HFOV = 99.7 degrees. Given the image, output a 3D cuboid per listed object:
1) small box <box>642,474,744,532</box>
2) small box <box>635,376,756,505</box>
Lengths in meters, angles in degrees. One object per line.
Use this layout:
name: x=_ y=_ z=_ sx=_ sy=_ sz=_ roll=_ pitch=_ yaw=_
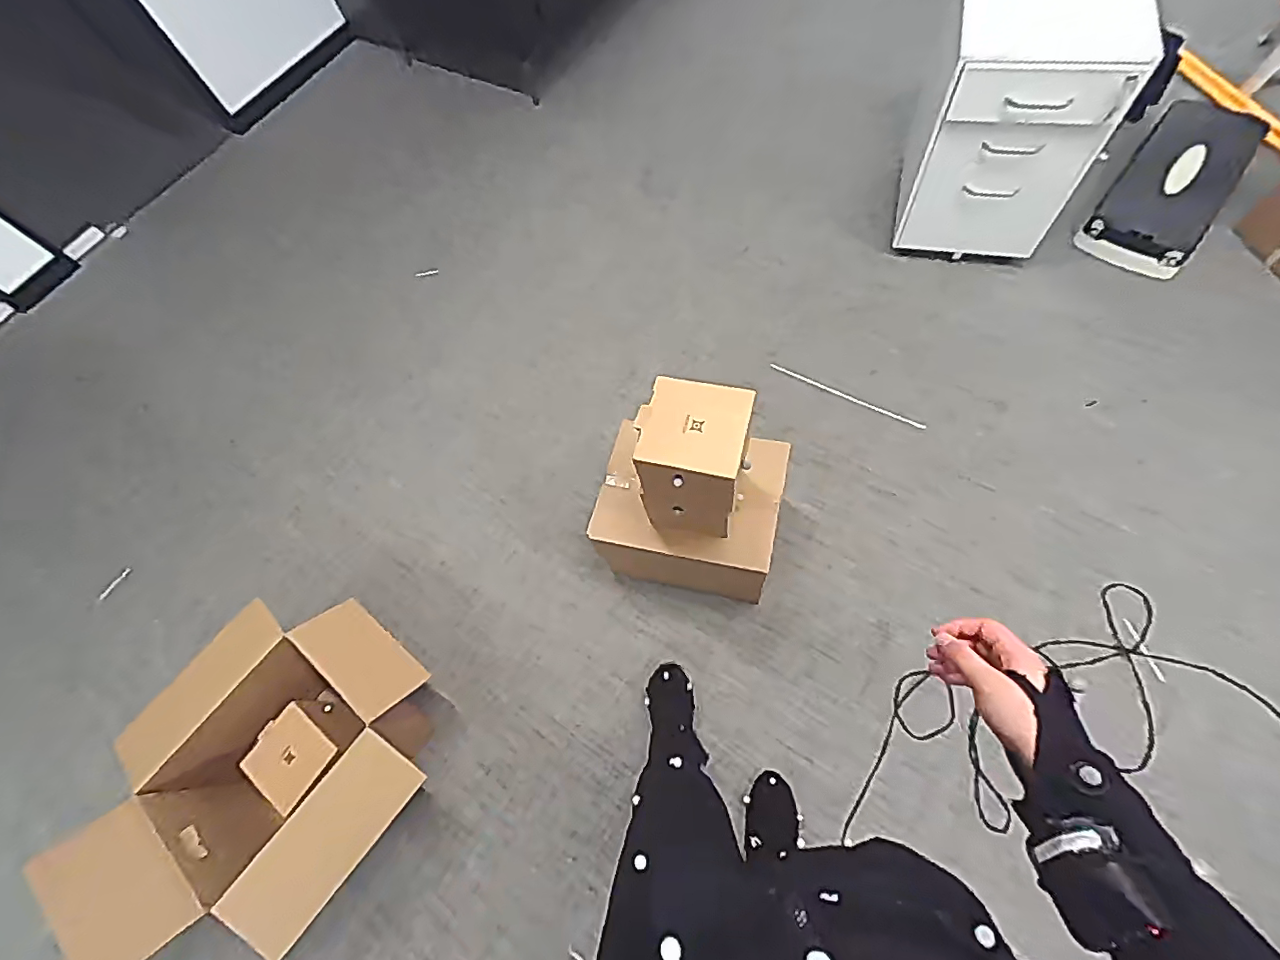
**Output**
small box: x=0.119 y=-0.003 z=1.133 sx=0.179 sy=0.176 sz=0.168 roll=11 pitch=69 yaw=14
small box: x=0.107 y=-0.065 z=0.983 sx=0.179 sy=0.176 sz=0.168 roll=11 pitch=70 yaw=15
